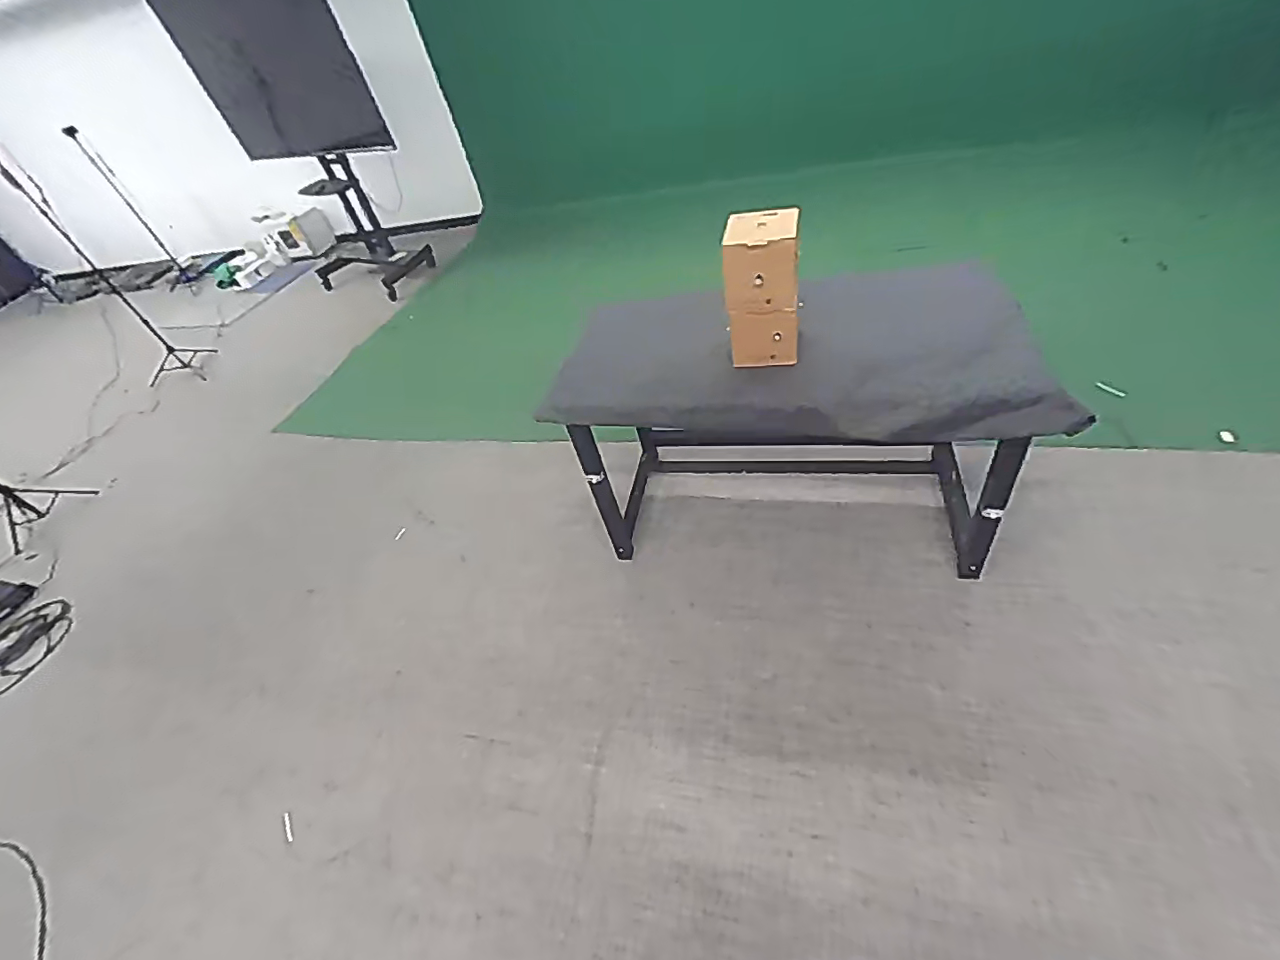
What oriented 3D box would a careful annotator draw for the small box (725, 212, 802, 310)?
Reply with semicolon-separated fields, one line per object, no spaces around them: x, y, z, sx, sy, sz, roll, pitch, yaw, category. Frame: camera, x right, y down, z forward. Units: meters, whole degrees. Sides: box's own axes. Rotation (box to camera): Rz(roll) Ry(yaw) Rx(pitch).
0.308;-0.532;1.329;0.168;0.176;0.179;3;48;17;small box

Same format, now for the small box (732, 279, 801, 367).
0.341;-0.415;1.439;0.168;0.176;0.179;2;45;16;small box
